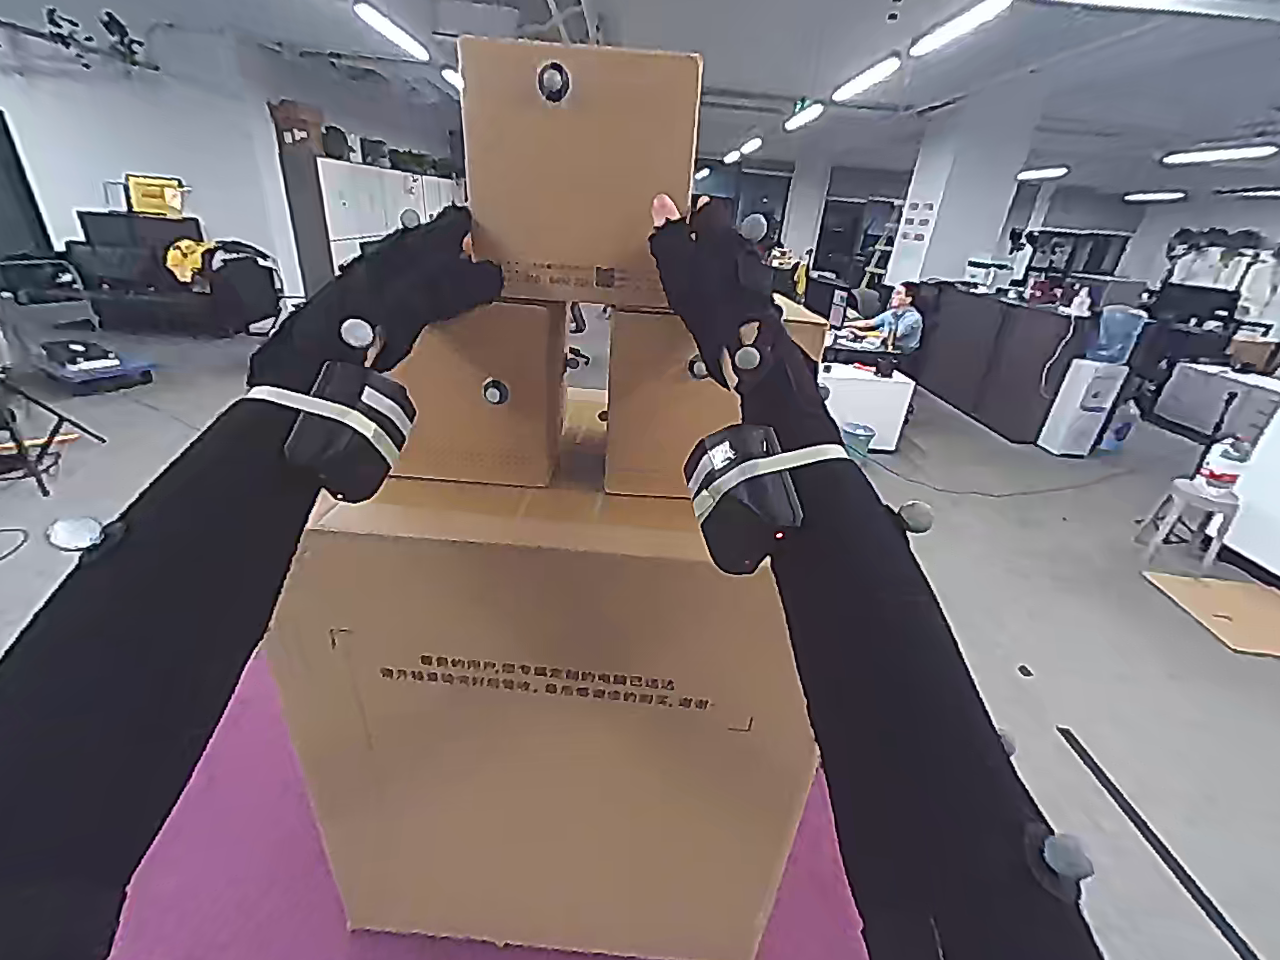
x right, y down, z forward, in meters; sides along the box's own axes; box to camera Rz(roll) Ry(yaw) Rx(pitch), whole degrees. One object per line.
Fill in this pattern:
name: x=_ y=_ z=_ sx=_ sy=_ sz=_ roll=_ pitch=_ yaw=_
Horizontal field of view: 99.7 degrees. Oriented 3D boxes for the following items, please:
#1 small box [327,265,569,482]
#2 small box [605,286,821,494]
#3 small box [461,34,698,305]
small box: x=-0.167 y=-0.108 z=0.531 sx=0.179 sy=0.176 sz=0.168 roll=4 pitch=25 yaw=-3
small box: x=0.056 y=-0.095 z=0.537 sx=0.179 sy=0.176 sz=0.168 roll=3 pitch=26 yaw=-3
small box: x=-0.046 y=-0.252 z=0.473 sx=0.168 sy=0.176 sz=0.179 roll=3 pitch=25 yaw=-1
